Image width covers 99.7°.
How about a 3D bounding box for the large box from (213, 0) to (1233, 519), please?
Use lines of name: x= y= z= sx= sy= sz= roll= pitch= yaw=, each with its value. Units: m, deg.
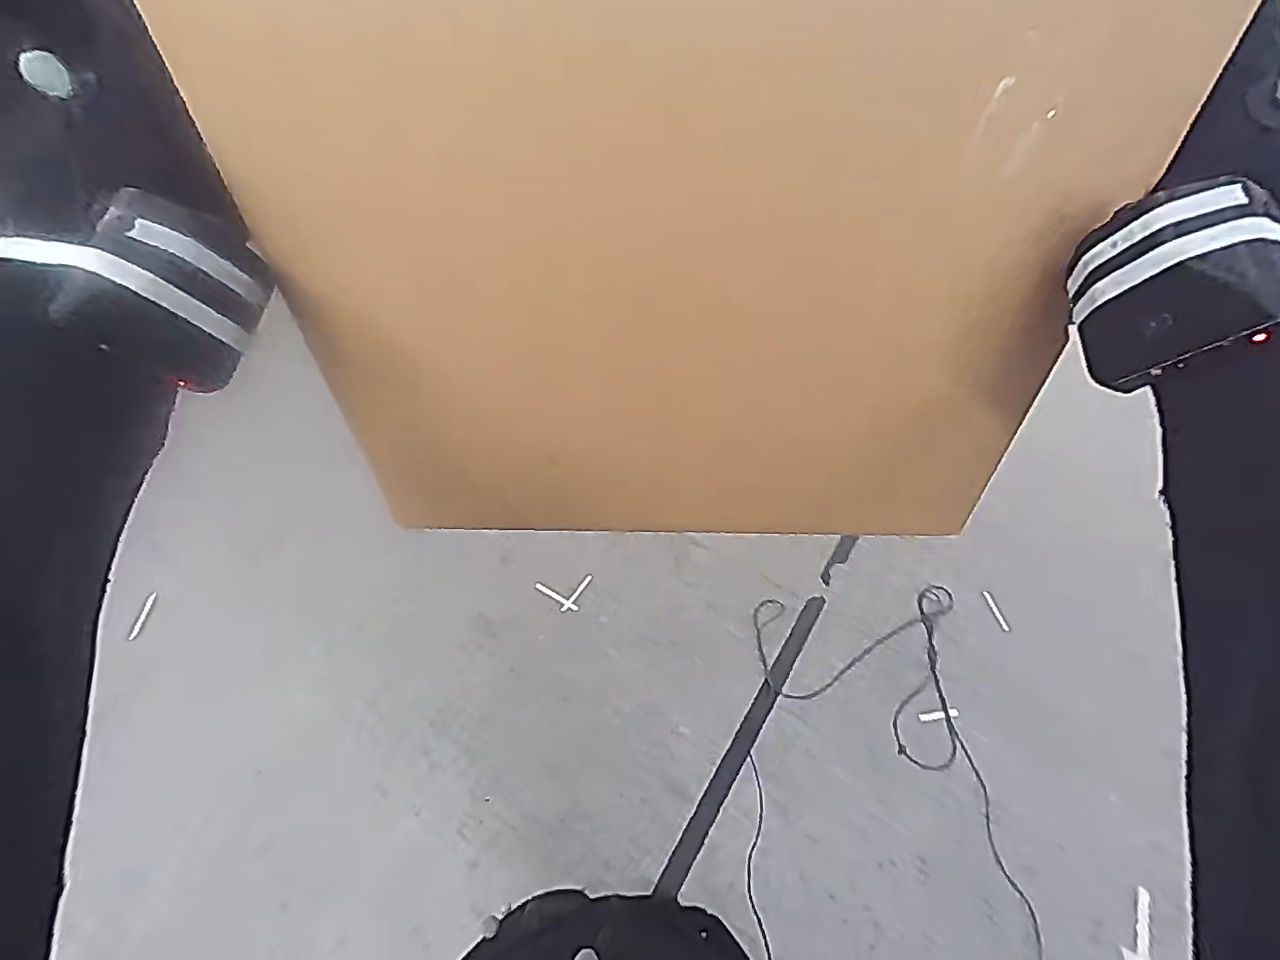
large box: x=0.031 y=-0.183 z=0.405 sx=0.408 sy=0.320 sz=0.320 roll=2 pitch=43 yaw=2
